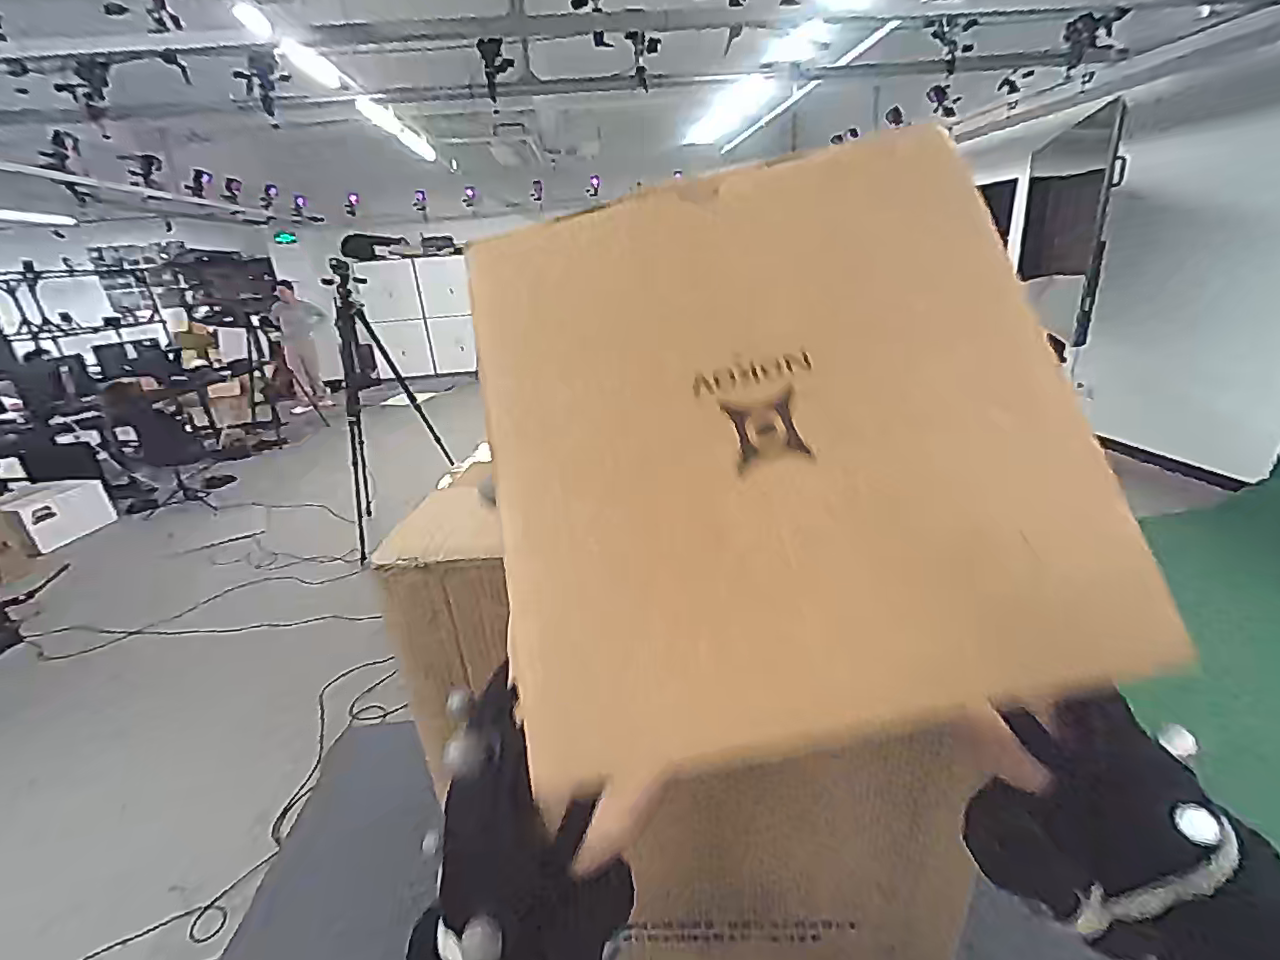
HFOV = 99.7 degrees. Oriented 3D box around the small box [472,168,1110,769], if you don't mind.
[{"bbox_3d":[0.041,0.008,0.249,0.168,0.179,0.176,-12,-19,4],"label":"small box"}]
